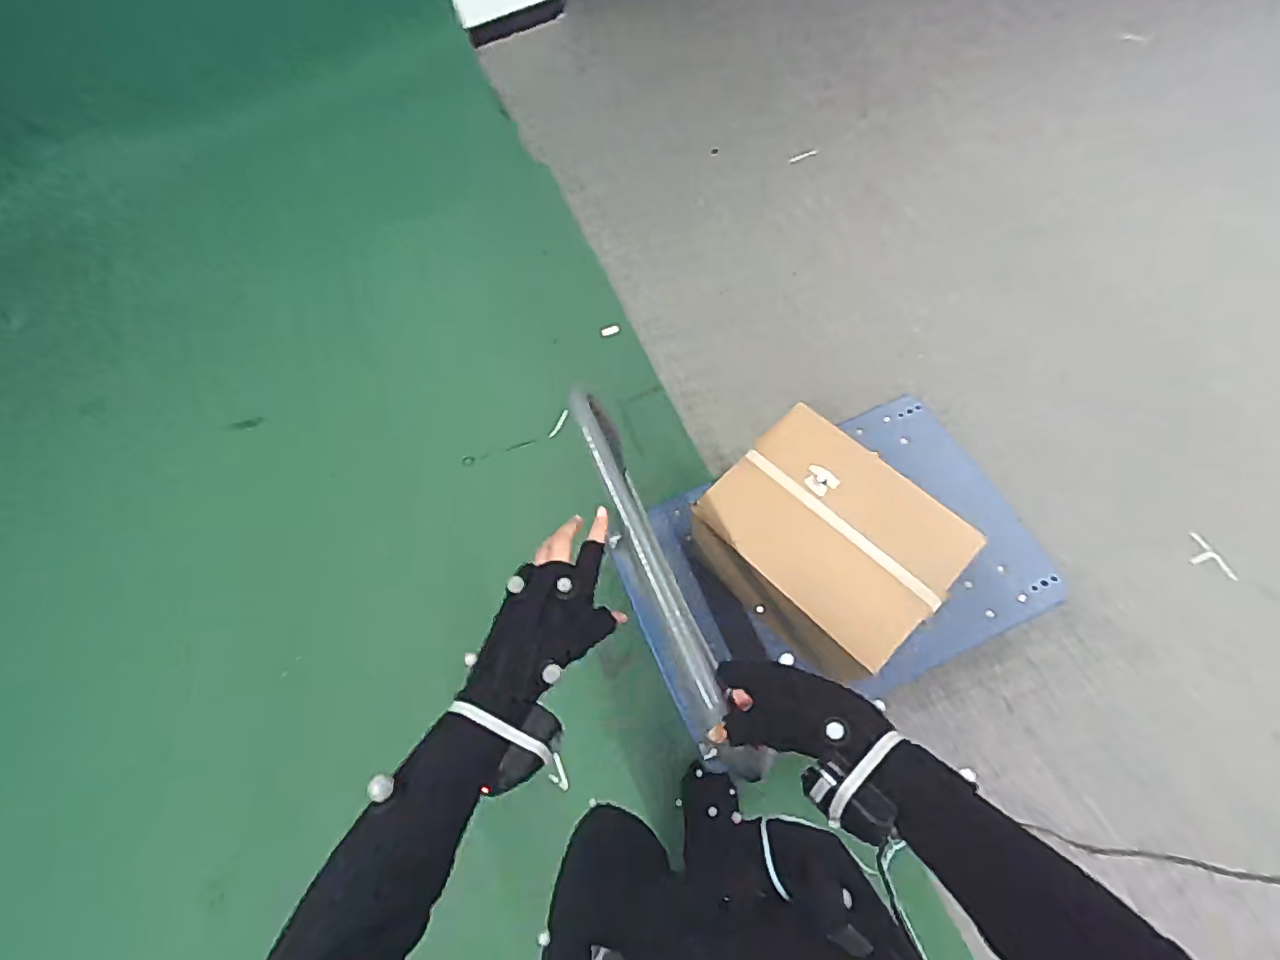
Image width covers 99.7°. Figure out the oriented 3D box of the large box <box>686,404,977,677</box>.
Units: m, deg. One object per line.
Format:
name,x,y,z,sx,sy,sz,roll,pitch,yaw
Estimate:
large box,0.348,0.133,1.088,0.320,0.320,0.408,-42,68,-12
